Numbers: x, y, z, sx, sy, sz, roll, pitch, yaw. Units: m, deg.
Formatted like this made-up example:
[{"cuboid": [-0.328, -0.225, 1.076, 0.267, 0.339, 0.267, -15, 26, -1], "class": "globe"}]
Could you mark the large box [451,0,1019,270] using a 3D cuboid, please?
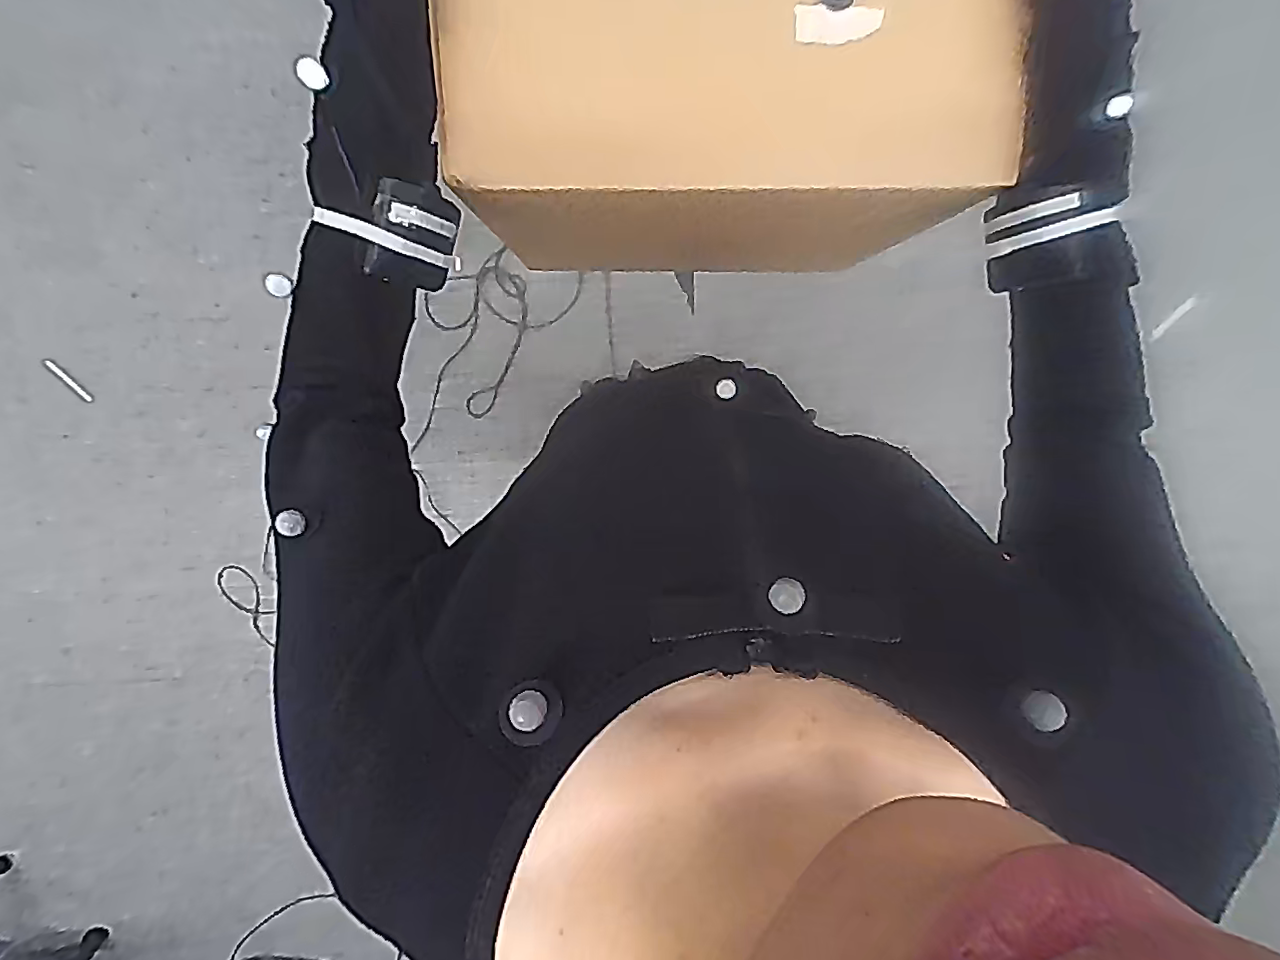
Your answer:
[{"cuboid": [0.061, -0.395, 0.514, 0.408, 0.320, 0.320, -1, 101, -1], "class": "large box"}]
